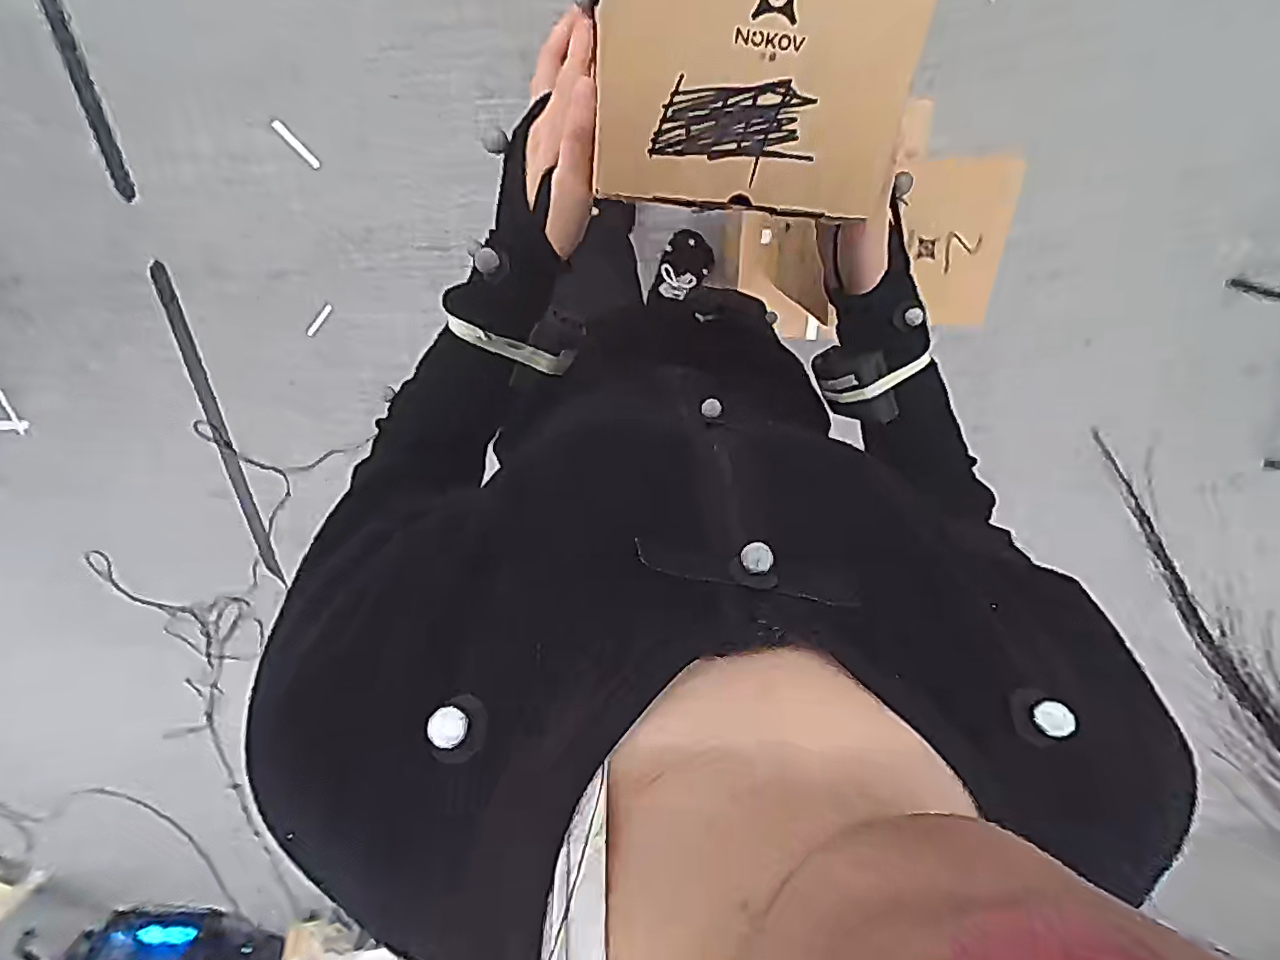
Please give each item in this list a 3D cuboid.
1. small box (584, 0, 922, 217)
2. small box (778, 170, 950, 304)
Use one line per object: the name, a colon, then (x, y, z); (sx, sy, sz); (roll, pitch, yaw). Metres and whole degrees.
small box: (0.051, -0.273, 0.332); (0.168, 0.176, 0.179); (1, 121, -7)
small box: (0.309, -0.355, 0.787); (0.179, 0.176, 0.168); (1, 117, 4)
